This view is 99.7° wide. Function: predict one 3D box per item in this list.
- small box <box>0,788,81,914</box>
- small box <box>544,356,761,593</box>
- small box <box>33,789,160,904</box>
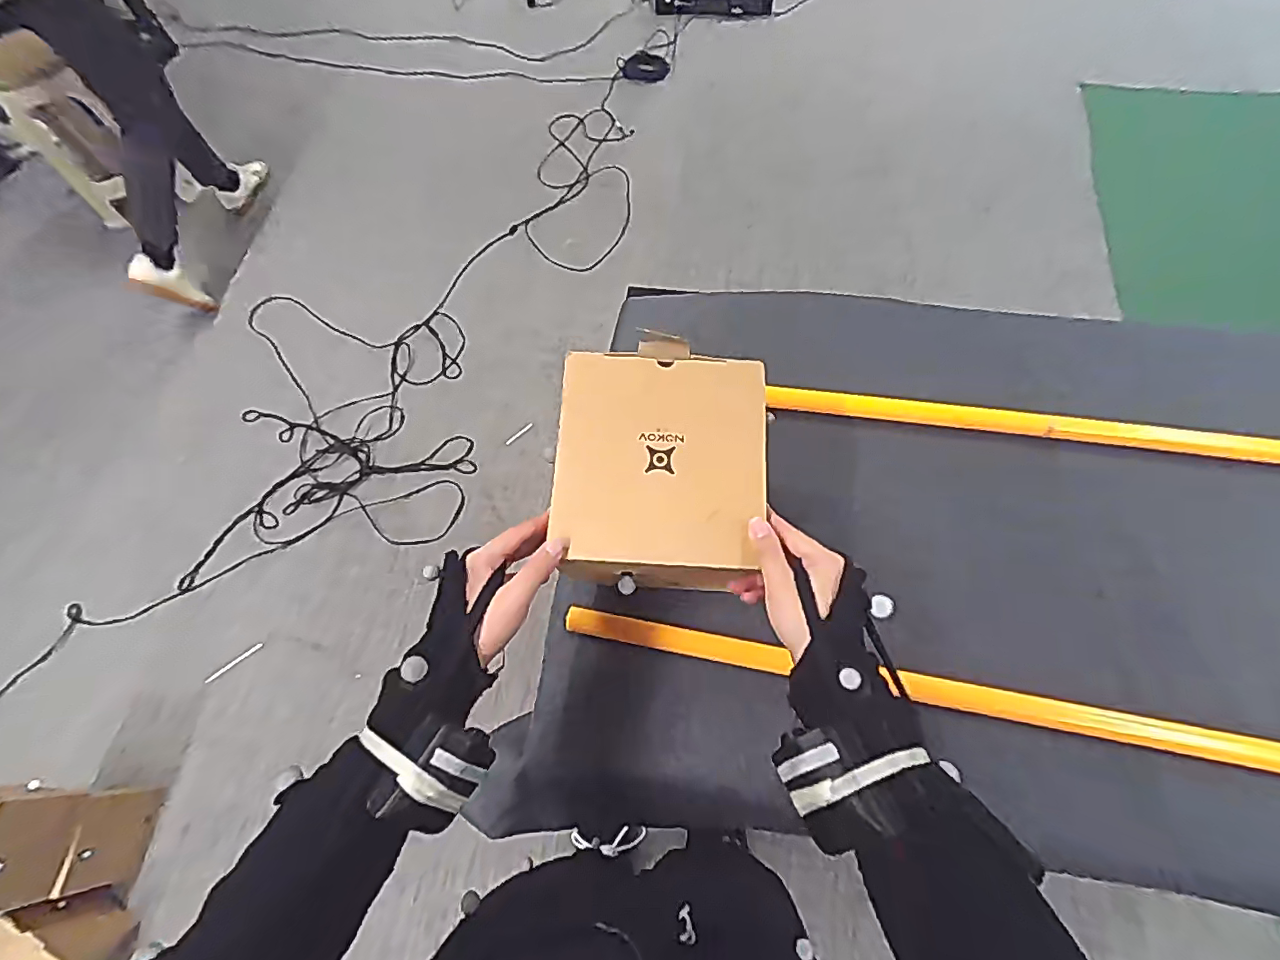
[{"bbox_3d":[-1.161,0.653,0.944,0.168,0.176,0.179,3,64,5],"label":"small box"},{"bbox_3d":[0.015,0.007,0.502,0.168,0.176,0.179,3,71,1],"label":"small box"},{"bbox_3d":[-1.143,0.731,1.093,0.179,0.176,0.168,-5,68,3],"label":"small box"}]
